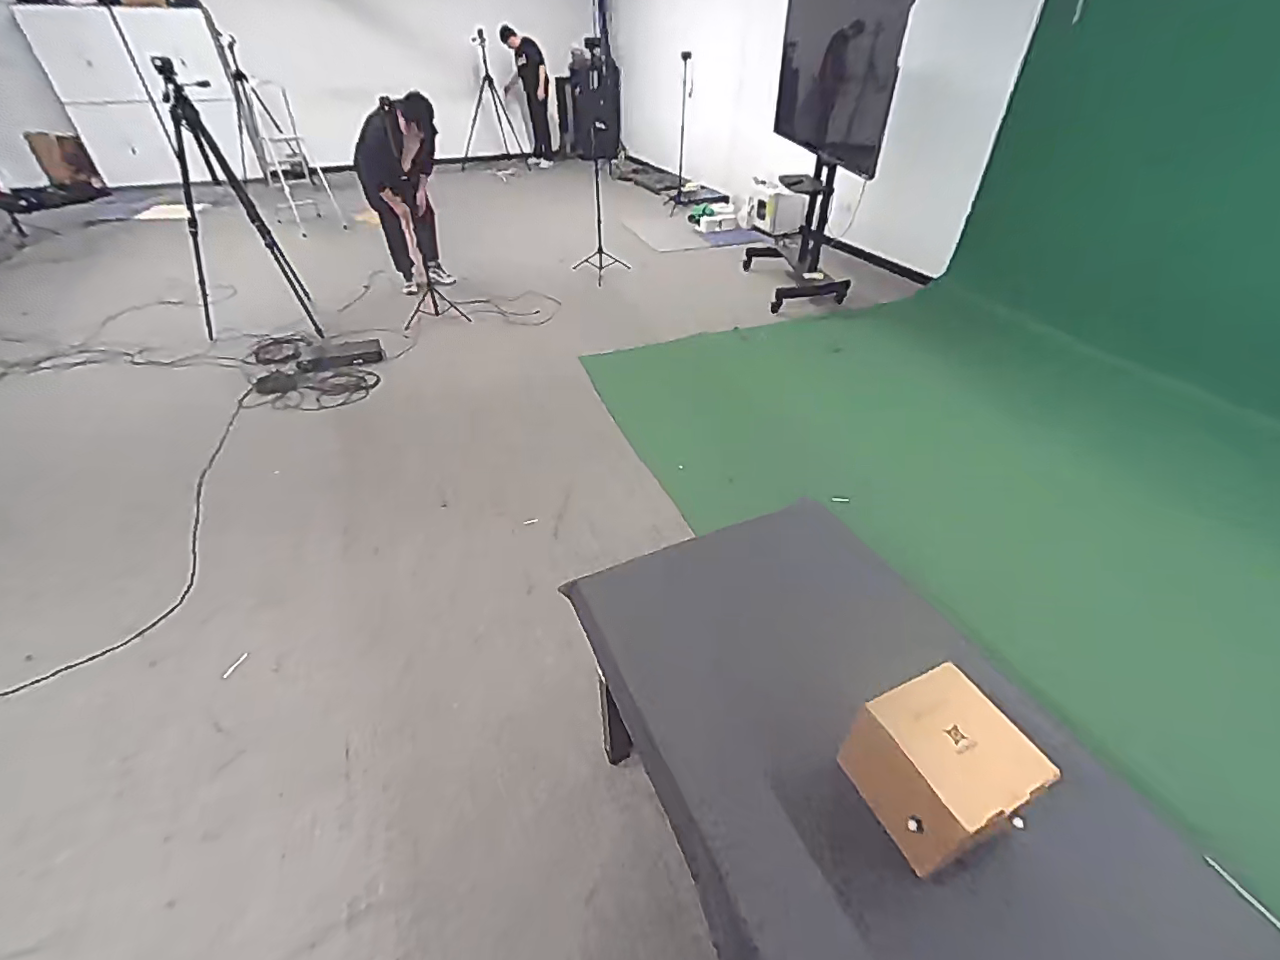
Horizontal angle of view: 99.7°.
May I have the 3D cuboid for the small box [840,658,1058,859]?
[{"bbox_3d":[0.414,0.393,0.757,0.168,0.176,0.179,-15,42,-20],"label":"small box"}]
